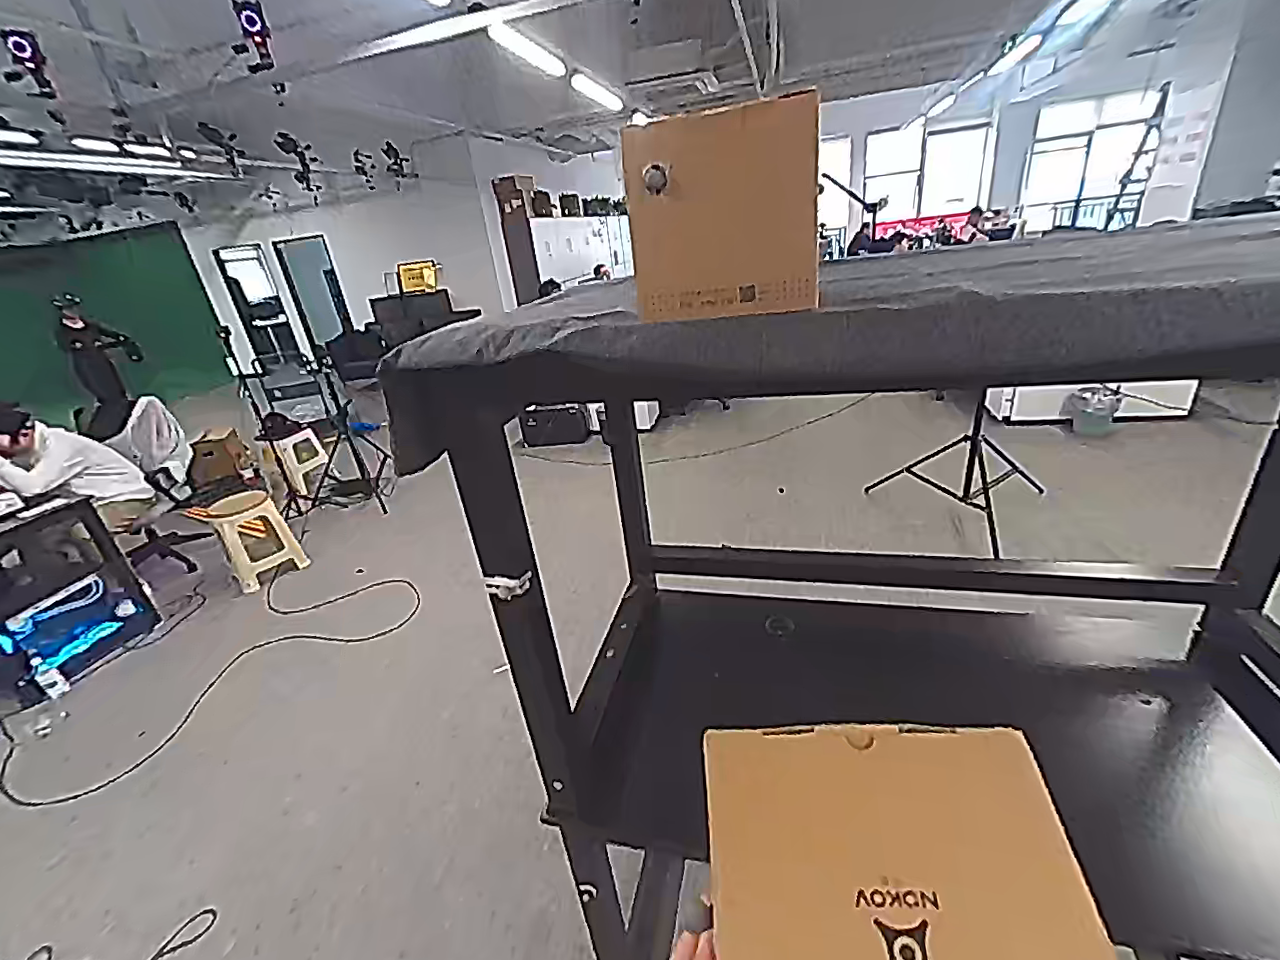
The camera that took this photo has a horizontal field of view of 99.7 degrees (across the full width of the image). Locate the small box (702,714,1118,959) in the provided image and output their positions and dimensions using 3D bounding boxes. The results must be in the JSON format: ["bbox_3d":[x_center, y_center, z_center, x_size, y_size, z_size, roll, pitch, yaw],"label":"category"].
[{"bbox_3d":[0.123,0.245,0.293,0.168,0.176,0.179,-3,47,6],"label":"small box"}]
